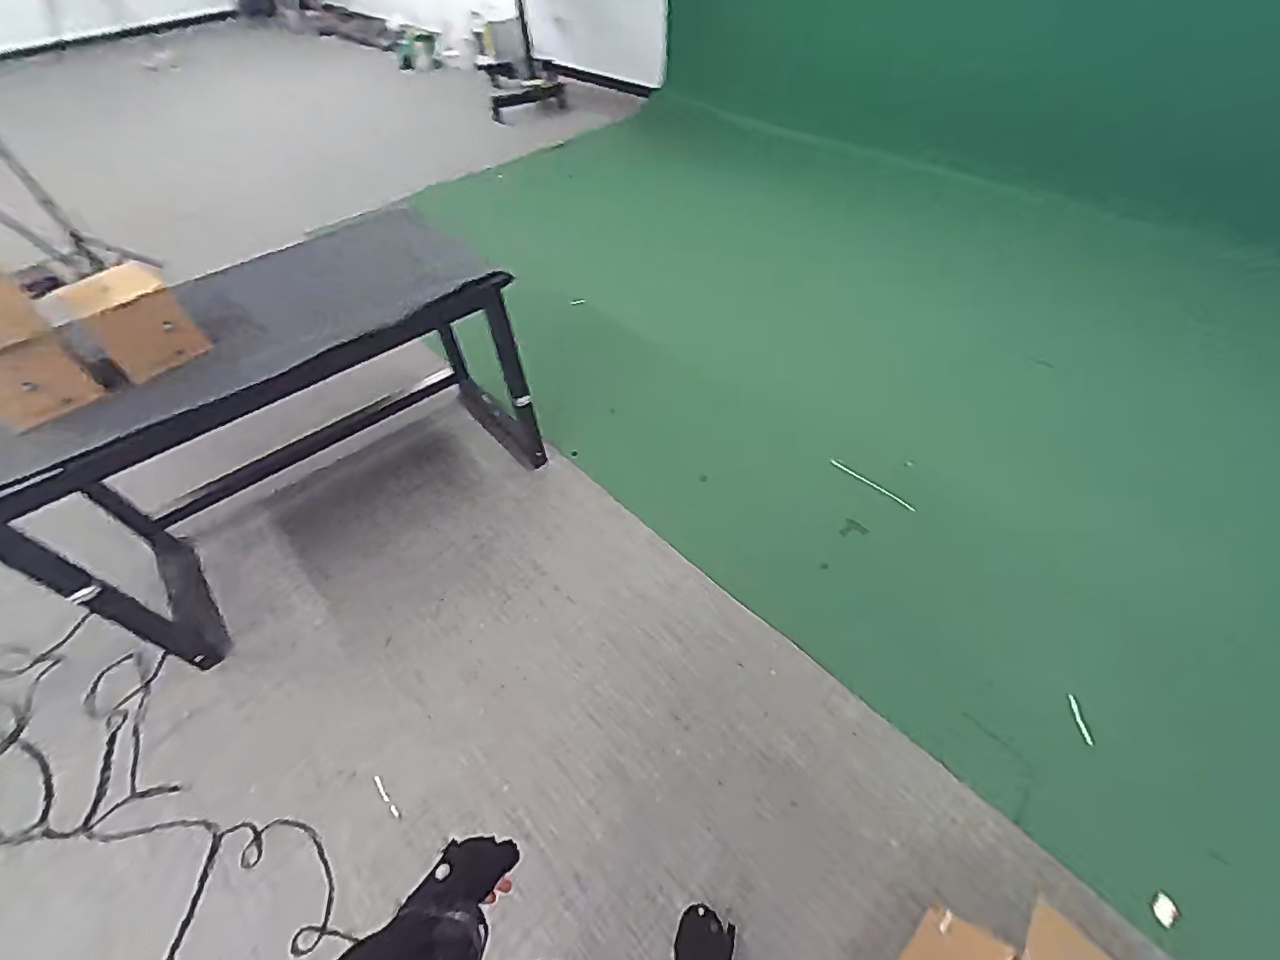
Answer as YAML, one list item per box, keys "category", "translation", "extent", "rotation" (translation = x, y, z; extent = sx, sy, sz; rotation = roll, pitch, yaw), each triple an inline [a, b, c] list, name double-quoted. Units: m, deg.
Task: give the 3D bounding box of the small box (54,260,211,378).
- category: "small box"
  translation: [-1.109, -0.352, 1.196]
  extent: [0.179, 0.176, 0.168]
  rotation: [30, 57, 25]

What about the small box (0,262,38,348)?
- category: "small box"
  translation: [-1.252, -0.336, 0.972]
  extent: [0.168, 0.176, 0.179]
  rotation: [-32, 56, -23]
